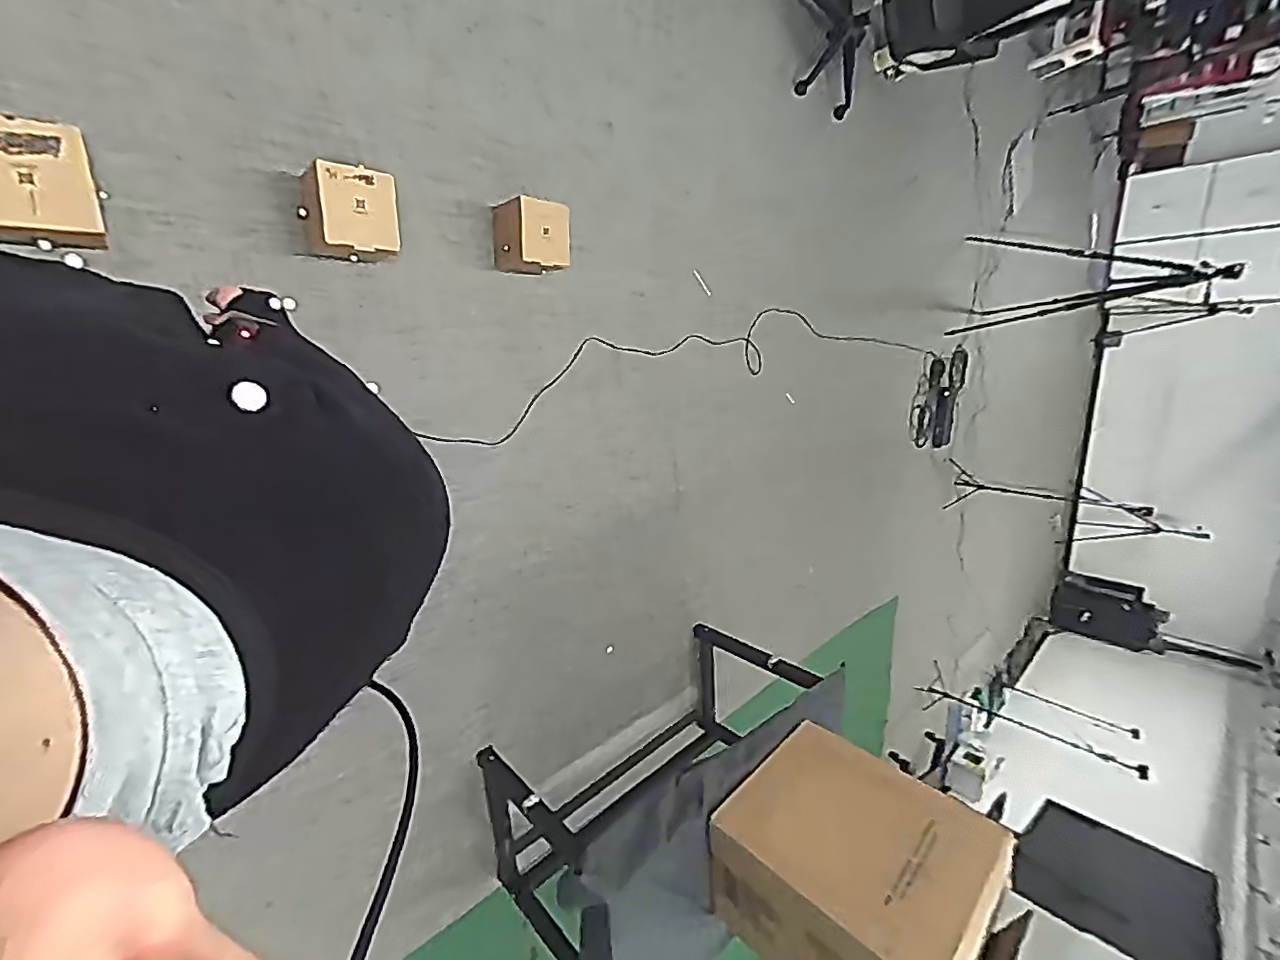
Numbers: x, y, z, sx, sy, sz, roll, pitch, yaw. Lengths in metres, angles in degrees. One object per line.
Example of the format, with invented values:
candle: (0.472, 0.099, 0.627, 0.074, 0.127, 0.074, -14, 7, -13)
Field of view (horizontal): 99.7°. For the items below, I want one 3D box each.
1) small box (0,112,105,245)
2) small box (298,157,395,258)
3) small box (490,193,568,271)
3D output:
small box: (-1.091, -0.532, 0.965, 0.168, 0.176, 0.179, -14, 109, -40)
small box: (-0.705, -0.642, 1.300, 0.168, 0.176, 0.179, -11, 107, -41)
small box: (-0.334, -0.735, 1.623, 0.168, 0.176, 0.179, -12, 106, -41)
